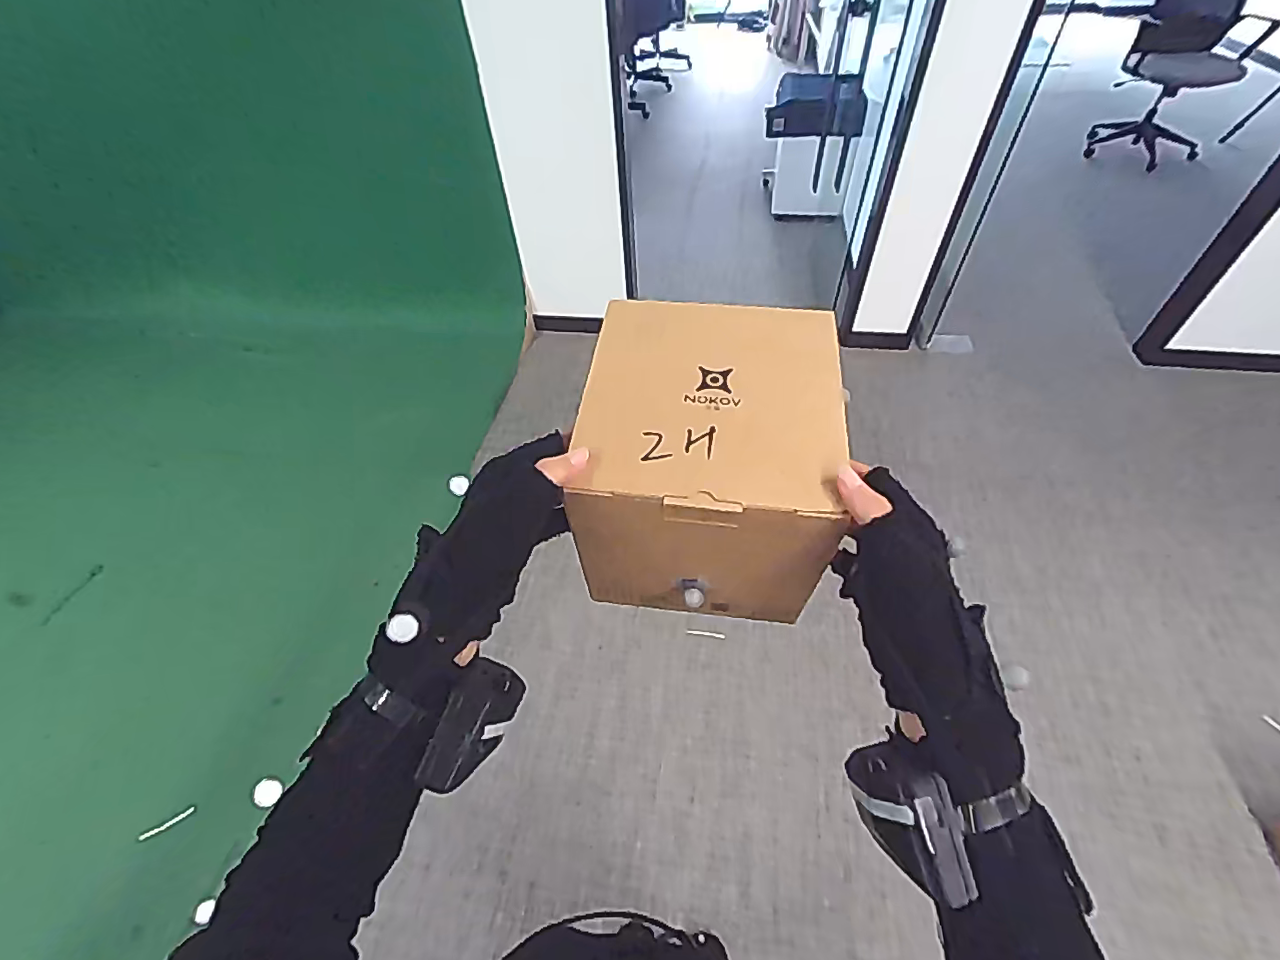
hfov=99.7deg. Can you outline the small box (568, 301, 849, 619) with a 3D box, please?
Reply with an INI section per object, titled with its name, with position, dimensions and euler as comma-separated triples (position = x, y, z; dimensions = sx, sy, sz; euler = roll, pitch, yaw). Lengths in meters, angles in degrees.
[small box]
position = 0.052, -0.012, 0.422
dimensions = 0.168, 0.176, 0.179
euler = 5, 56, 7
